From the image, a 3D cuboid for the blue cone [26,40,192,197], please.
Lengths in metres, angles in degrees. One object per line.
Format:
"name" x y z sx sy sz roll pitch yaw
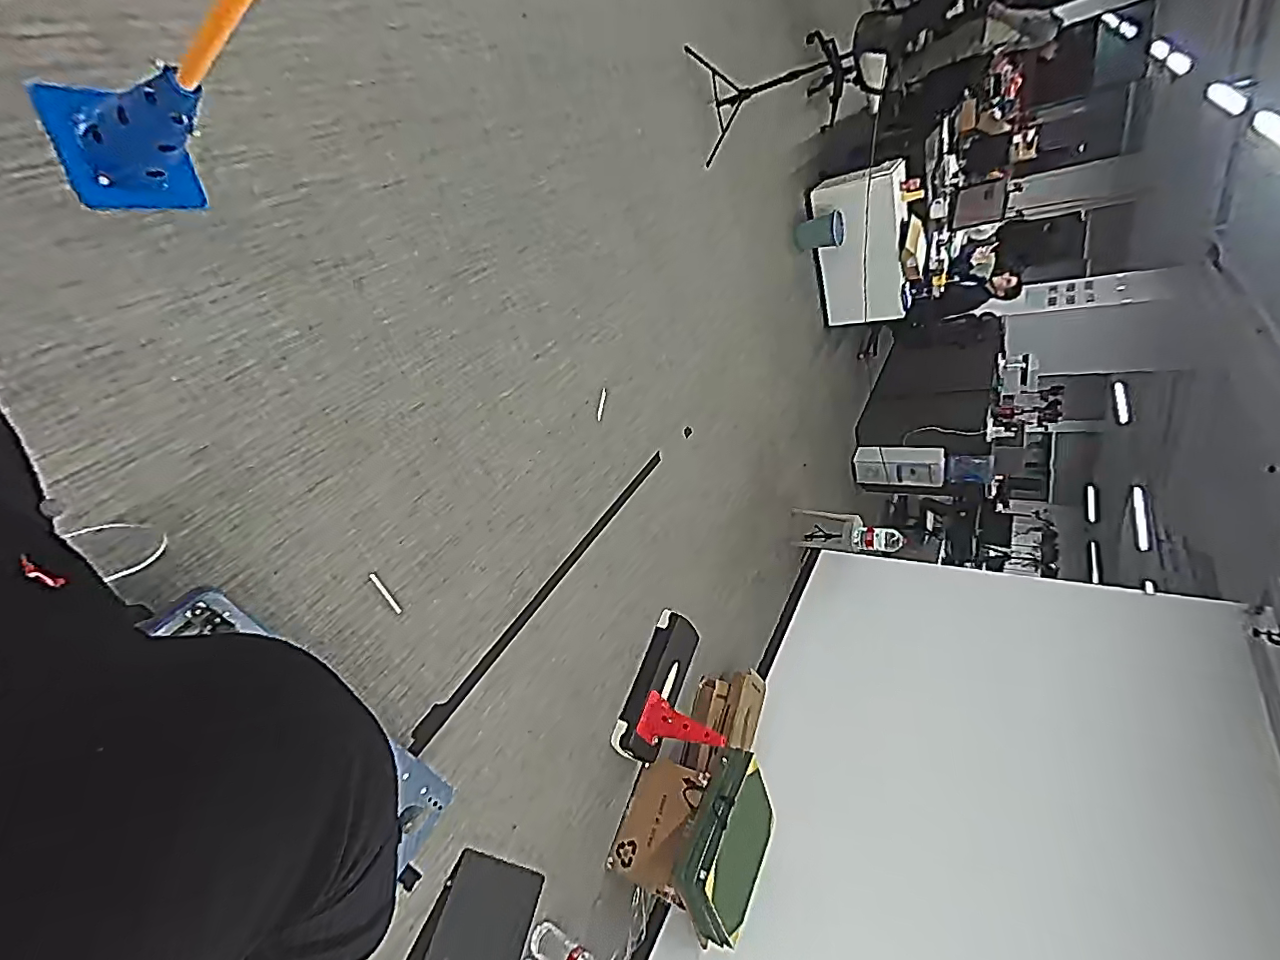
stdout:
"blue cone" -0.830 -0.620 0.900 0.193 0.380 0.192 -32 118 -49
